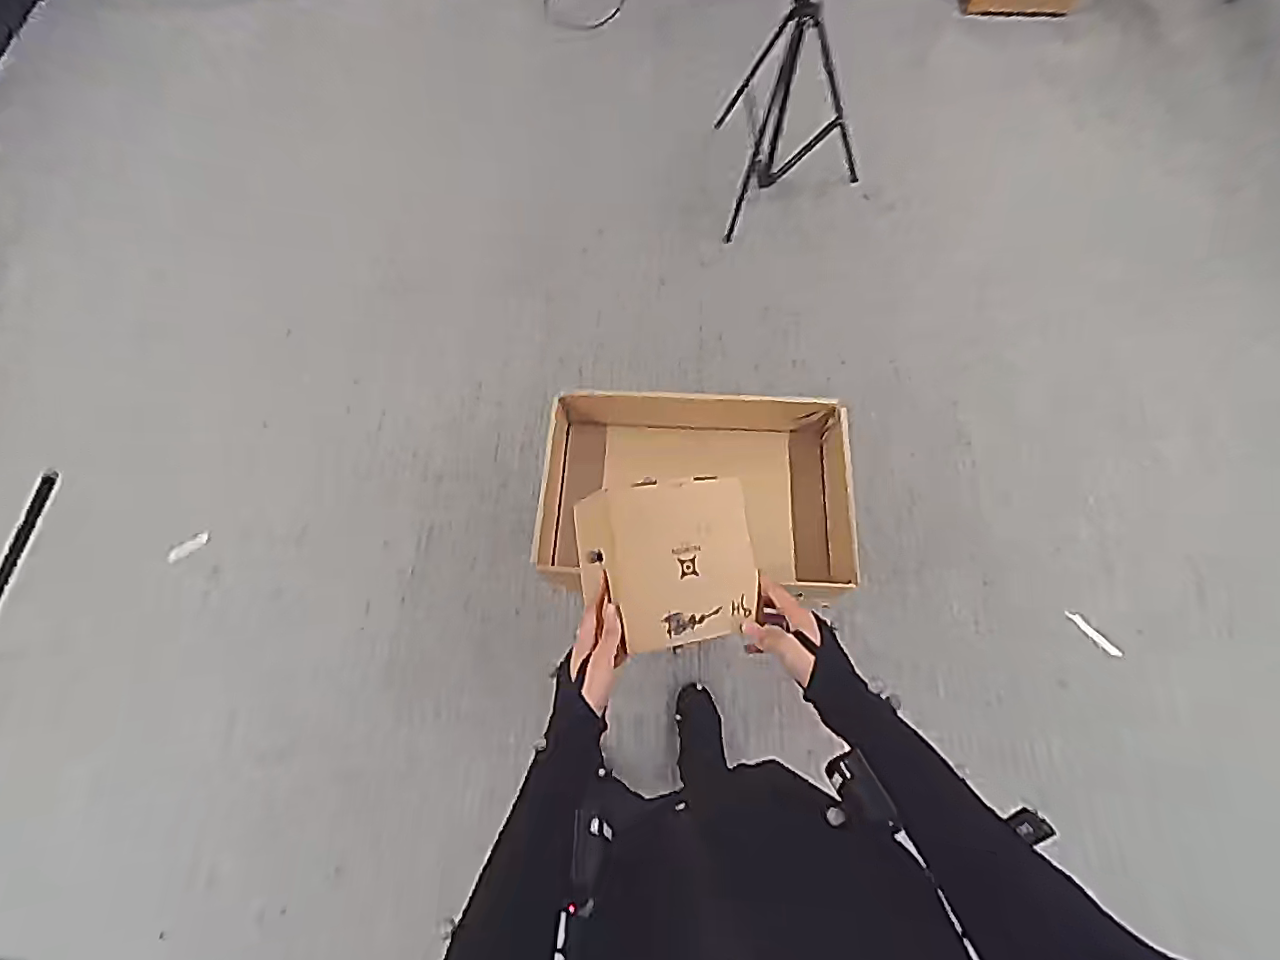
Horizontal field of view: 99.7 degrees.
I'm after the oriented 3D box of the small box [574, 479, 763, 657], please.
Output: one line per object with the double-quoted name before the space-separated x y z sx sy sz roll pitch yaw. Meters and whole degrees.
"small box" 0.023 0.103 0.660 0.168 0.176 0.179 -5 83 -21
